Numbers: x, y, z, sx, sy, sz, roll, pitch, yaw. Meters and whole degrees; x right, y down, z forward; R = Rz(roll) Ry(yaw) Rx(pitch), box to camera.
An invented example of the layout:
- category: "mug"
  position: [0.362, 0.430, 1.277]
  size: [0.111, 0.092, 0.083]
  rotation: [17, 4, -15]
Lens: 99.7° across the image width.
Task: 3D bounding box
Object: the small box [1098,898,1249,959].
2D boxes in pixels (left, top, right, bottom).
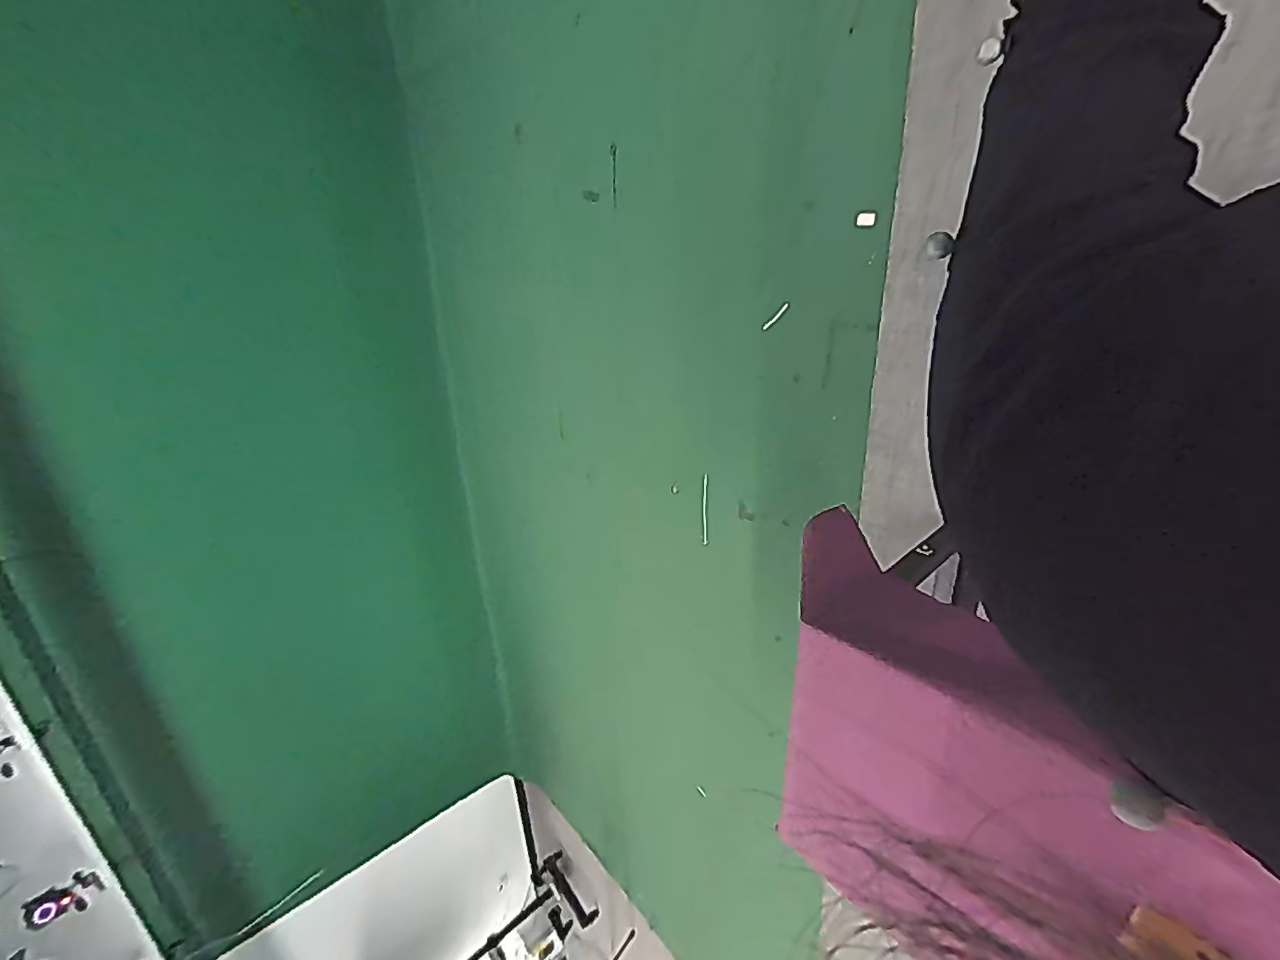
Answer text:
- category: "small box"
  position: [0.646, 0.659, 0.634]
  size: [0.168, 0.176, 0.179]
  rotation: [26, 124, 42]
